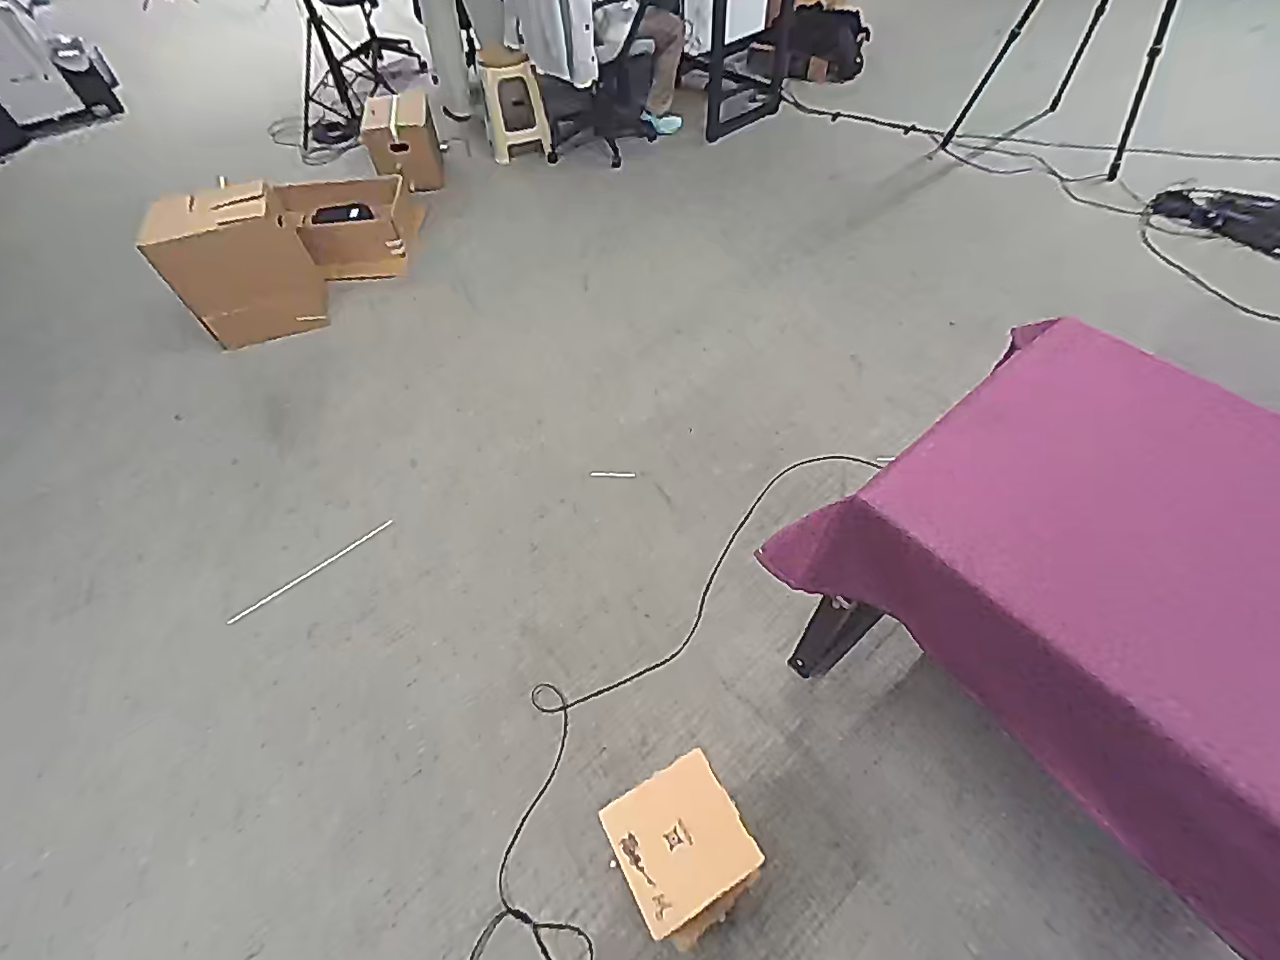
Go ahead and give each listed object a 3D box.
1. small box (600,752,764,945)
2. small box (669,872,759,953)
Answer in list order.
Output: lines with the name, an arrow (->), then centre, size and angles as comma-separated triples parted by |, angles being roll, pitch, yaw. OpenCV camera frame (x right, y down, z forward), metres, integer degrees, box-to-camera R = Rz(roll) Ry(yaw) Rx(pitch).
small box -> 0.057, 0.544, 0.809 | 0.179, 0.176, 0.168 | -25, 56, -16
small box -> 0.076, 0.656, 0.929 | 0.168, 0.176, 0.179 | -33, 59, -19
